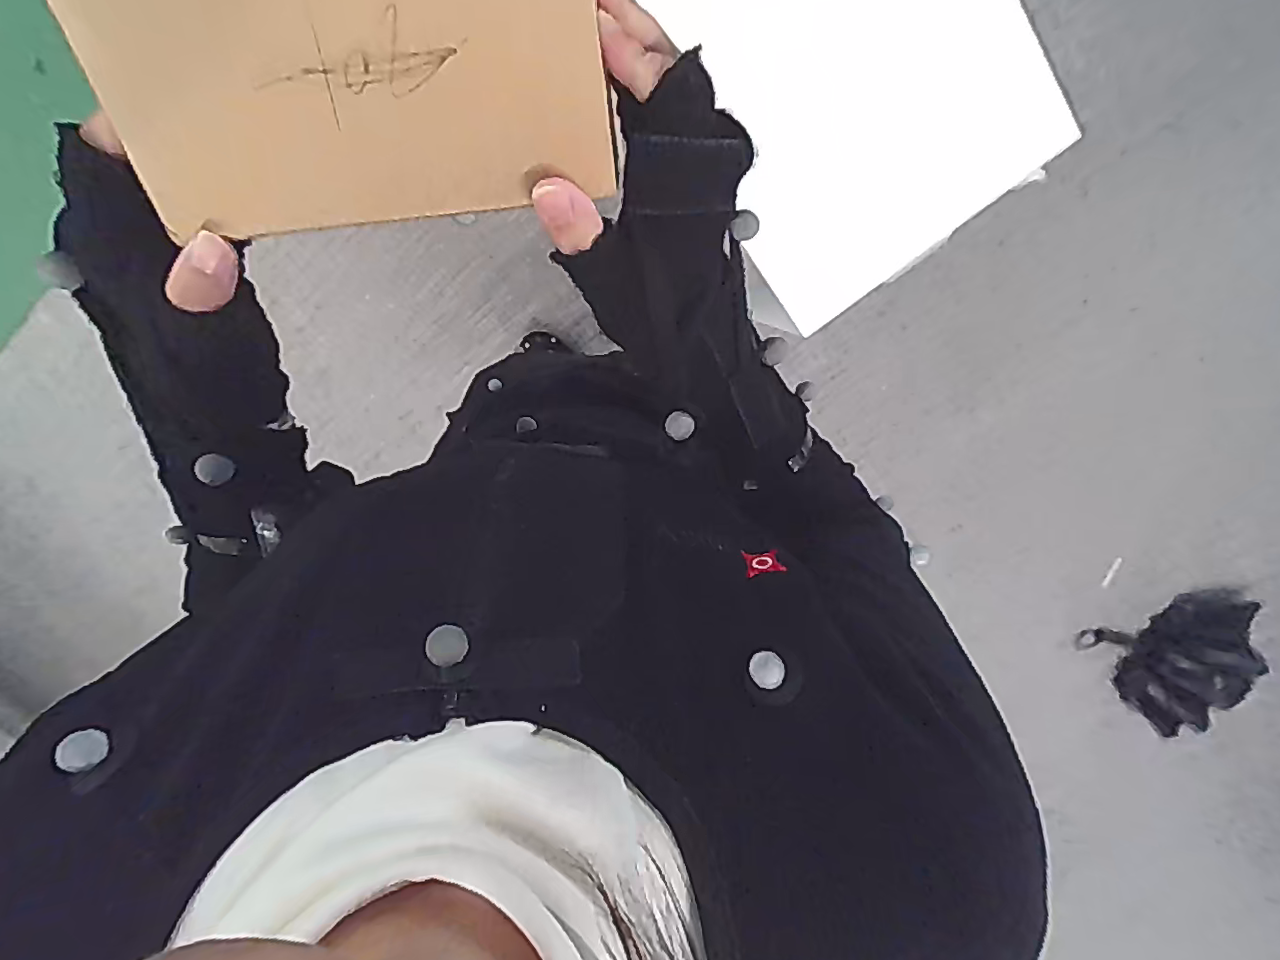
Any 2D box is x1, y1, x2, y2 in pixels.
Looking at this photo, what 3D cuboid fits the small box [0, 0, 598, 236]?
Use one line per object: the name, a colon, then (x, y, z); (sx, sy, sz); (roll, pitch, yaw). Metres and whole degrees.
small box: (-0.110, -0.206, 0.201); (0.168, 0.176, 0.179); (-6, 124, 3)
